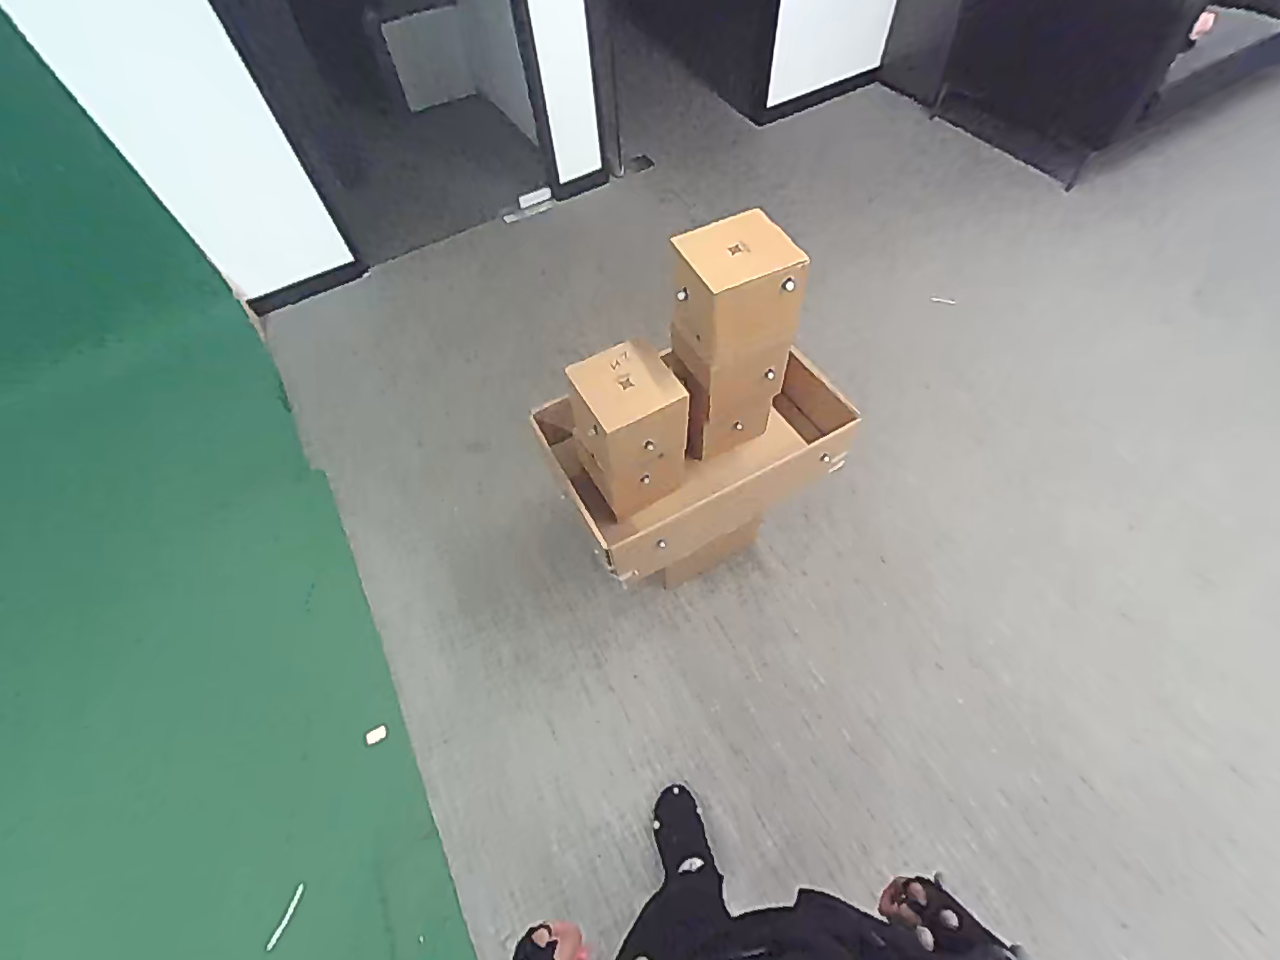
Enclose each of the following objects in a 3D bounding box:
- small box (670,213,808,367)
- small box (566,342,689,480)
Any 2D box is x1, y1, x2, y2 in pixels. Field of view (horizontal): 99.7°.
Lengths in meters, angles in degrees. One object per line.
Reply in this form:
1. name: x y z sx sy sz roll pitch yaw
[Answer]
1. small box: 0.168 -0.328 0.954 0.179 0.176 0.168 -23 58 -9
2. small box: -0.020 -0.122 1.026 0.168 0.176 0.179 -27 60 -13
